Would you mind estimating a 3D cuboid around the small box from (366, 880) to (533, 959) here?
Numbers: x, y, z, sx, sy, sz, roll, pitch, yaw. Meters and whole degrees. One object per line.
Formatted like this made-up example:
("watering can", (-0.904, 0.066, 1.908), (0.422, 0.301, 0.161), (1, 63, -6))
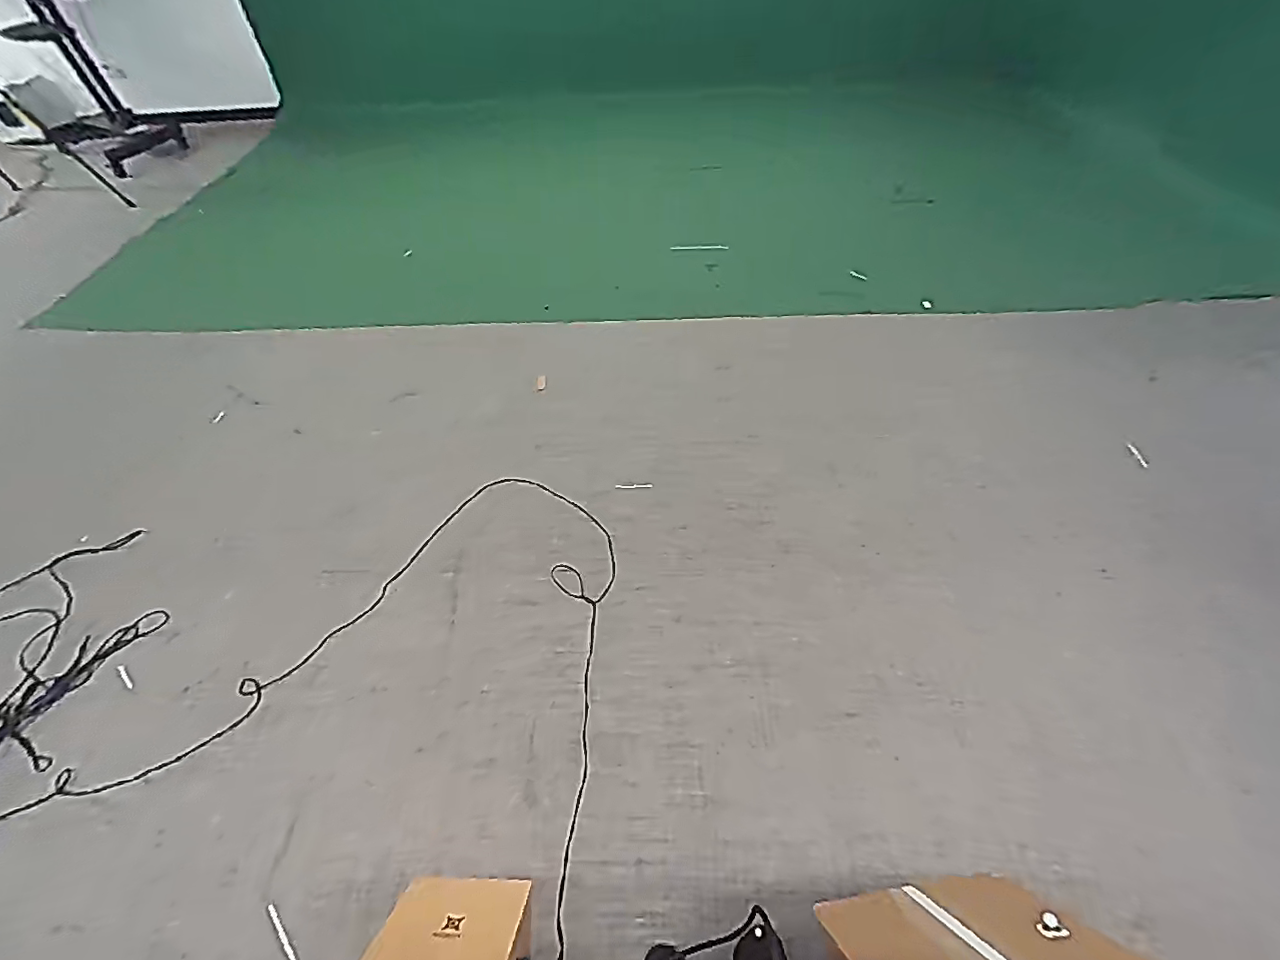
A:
("small box", (-0.233, 0.635, 0.658), (0.168, 0.179, 0.176), (1, 87, 0))
